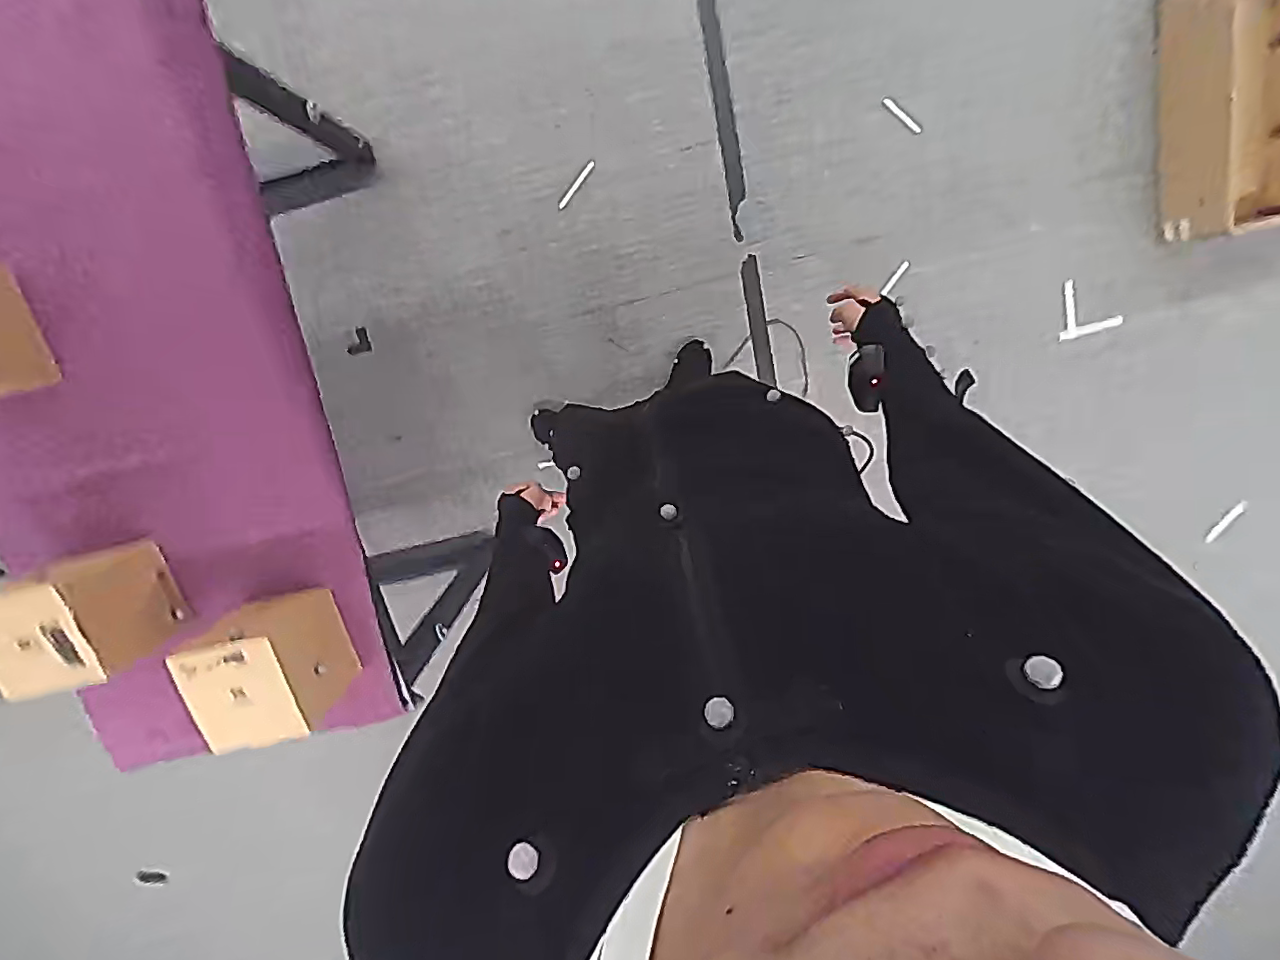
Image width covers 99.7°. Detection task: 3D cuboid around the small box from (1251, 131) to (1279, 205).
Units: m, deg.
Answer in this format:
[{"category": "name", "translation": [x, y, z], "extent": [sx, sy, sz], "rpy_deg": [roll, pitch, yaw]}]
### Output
[{"category": "small box", "translation": [1.645, -0.780, 1.291], "extent": [0.179, 0.176, 0.168], "rpy_deg": [-13, 104, 7]}]

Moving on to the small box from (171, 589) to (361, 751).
[{"category": "small box", "translation": [-0.603, 0.309, 0.901], "extent": [0.168, 0.176, 0.179], "rpy_deg": [-13, 105, 3]}]

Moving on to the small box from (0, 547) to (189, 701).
[{"category": "small box", "translation": [-0.896, 0.225, 0.883], "extent": [0.179, 0.176, 0.168], "rpy_deg": [-14, 104, 4]}]
